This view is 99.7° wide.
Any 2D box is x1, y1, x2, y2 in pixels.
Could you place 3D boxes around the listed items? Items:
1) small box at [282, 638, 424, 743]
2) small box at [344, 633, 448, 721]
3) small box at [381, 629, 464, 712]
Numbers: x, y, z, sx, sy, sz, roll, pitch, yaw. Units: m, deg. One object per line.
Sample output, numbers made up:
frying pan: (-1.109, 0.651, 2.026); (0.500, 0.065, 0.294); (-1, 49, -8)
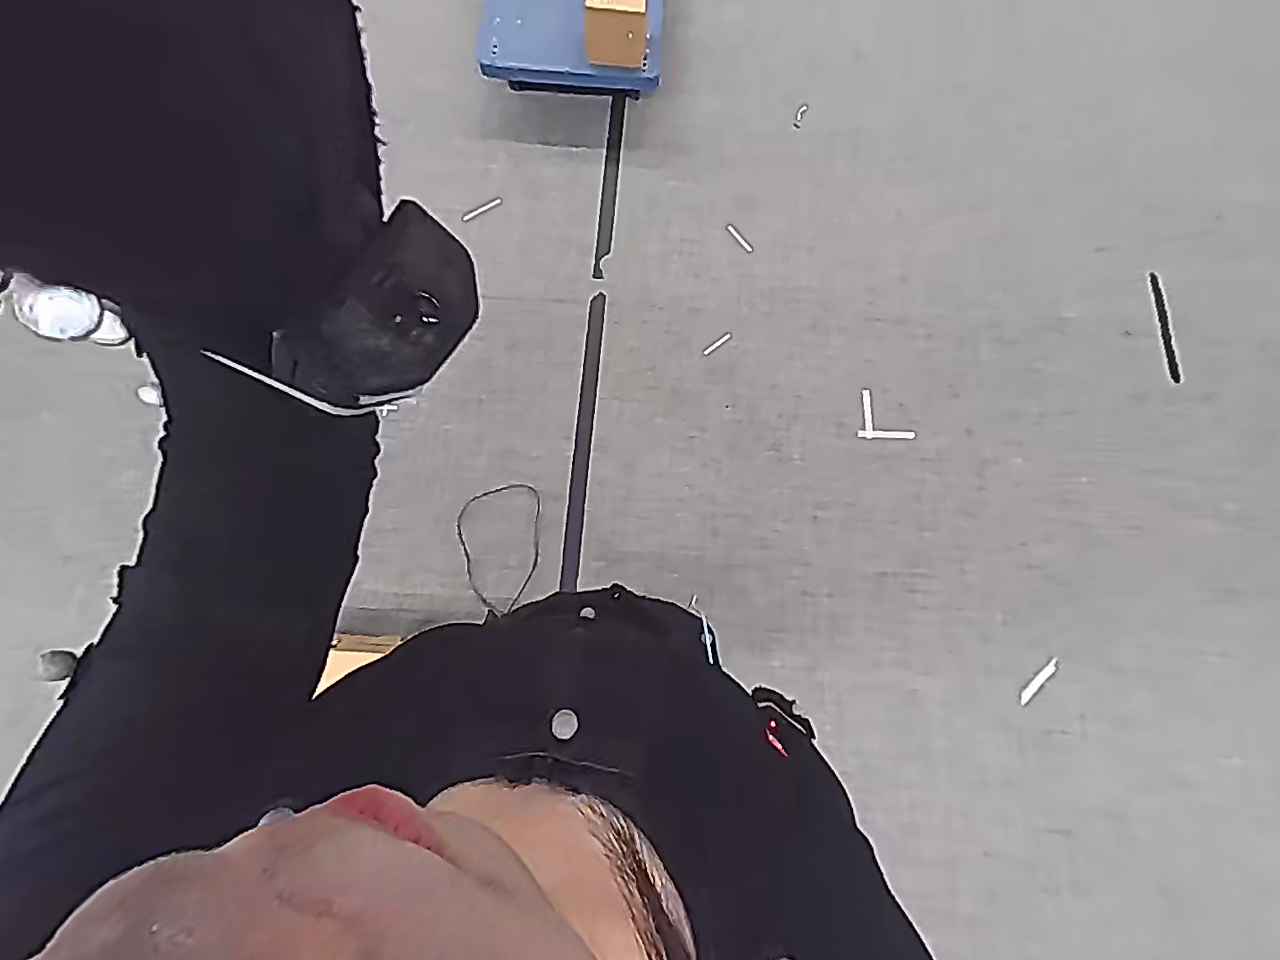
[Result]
small box: (-0.548, 0.403, 1.057); (0.179, 0.176, 0.168); (4, 77, -2)
small box: (-0.555, 0.436, 1.220); (0.179, 0.176, 0.168); (4, 77, -1)
small box: (-0.561, 0.478, 1.378); (0.168, 0.176, 0.179); (4, 76, -1)
